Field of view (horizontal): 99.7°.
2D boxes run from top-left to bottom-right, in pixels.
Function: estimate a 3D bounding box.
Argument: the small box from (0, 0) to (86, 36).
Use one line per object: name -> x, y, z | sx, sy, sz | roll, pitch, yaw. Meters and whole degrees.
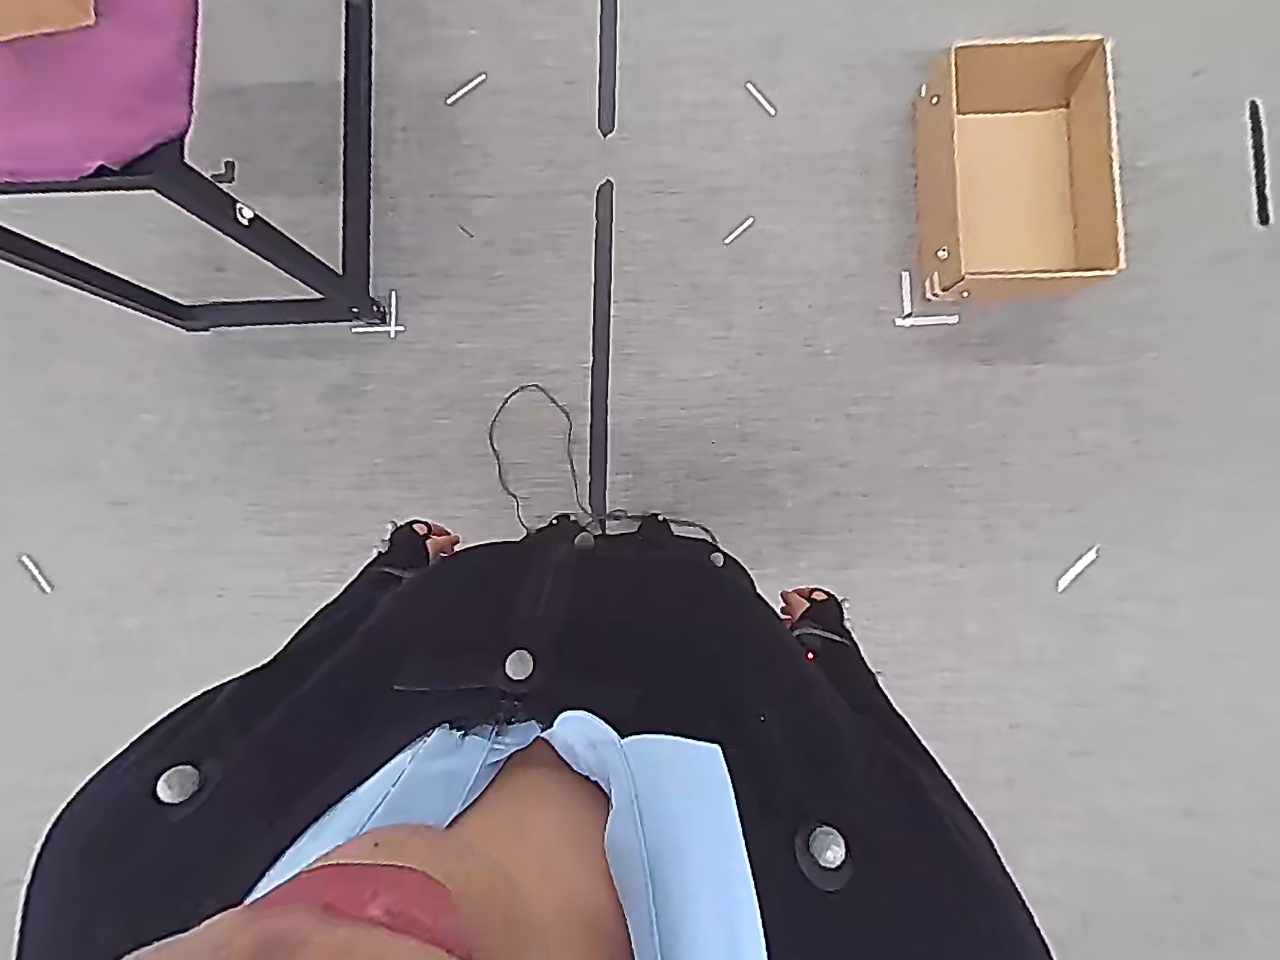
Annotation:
small box -> -0.938, -0.777, 0.760 | 0.179, 0.176, 0.168 | -8, 86, 1
